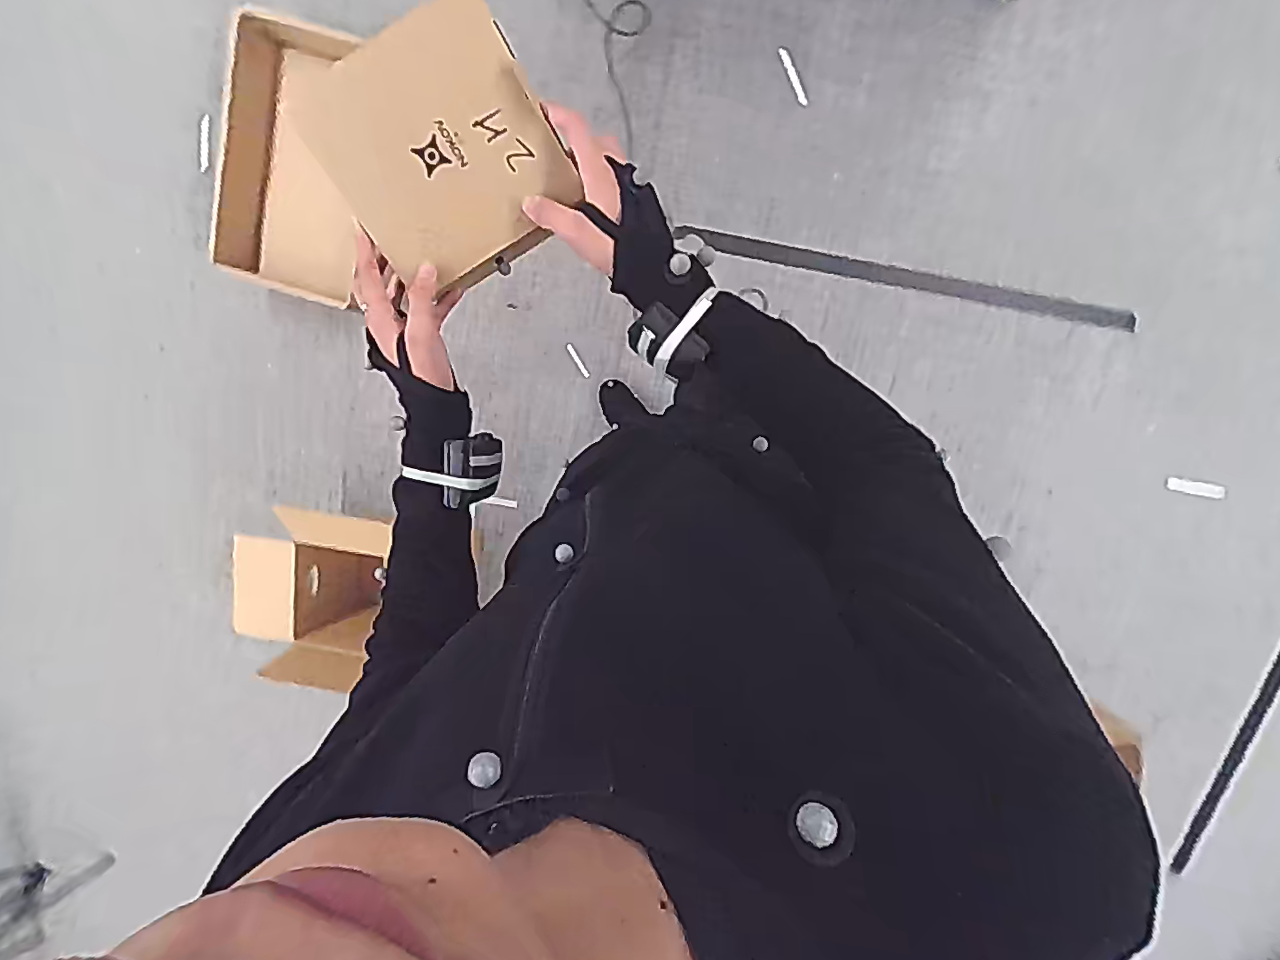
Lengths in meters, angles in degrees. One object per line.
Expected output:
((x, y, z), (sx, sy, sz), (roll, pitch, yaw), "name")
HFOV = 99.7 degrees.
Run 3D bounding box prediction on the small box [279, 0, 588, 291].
((-0.163, -0.290, 0.491), (0.179, 0.176, 0.168), (-30, 113, 3), "small box")
